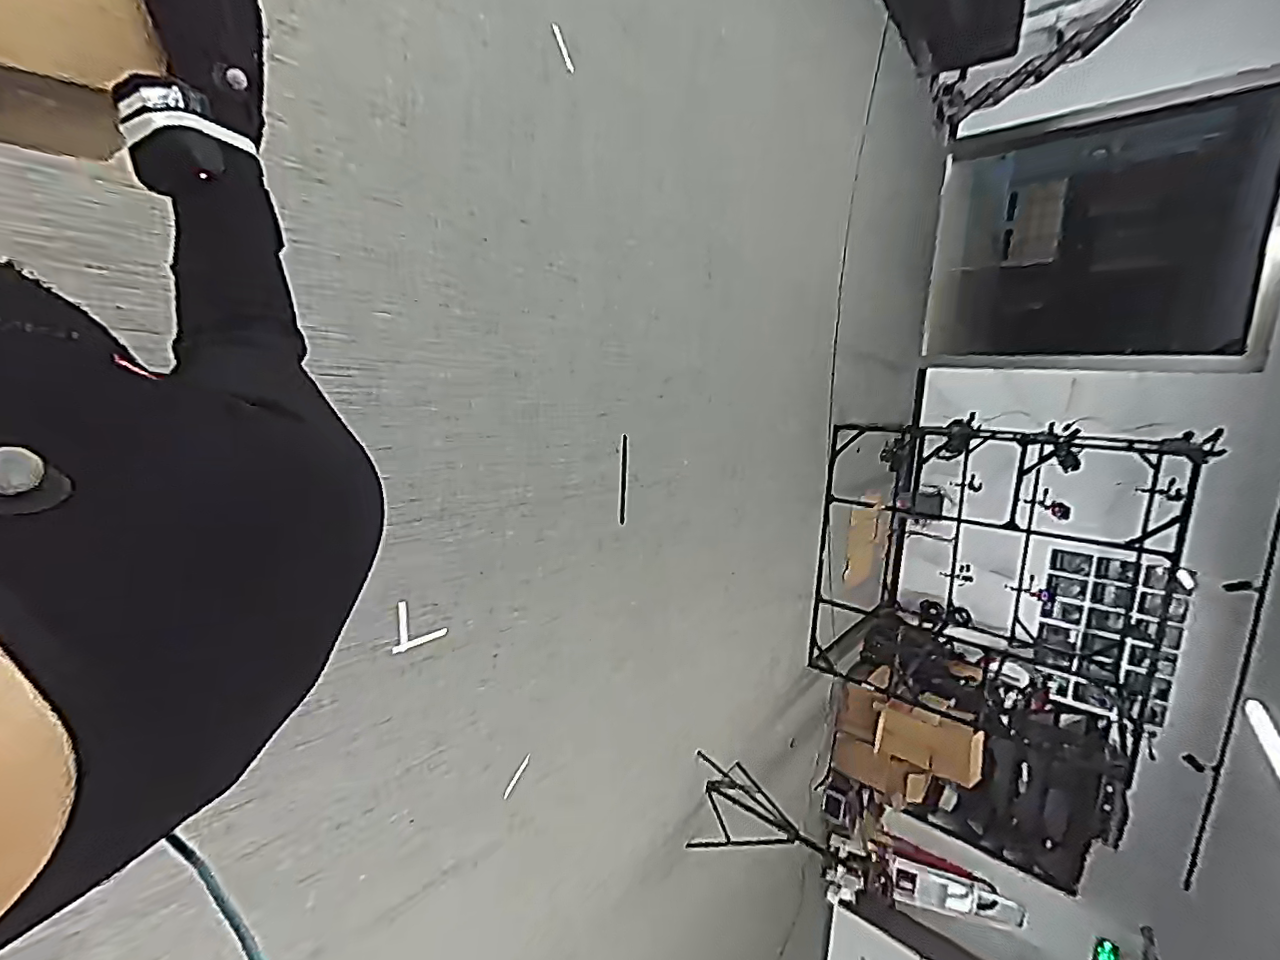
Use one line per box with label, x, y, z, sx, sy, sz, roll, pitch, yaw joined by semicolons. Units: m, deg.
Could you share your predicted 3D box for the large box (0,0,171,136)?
large box;-0.591;-0.443;0.310;0.408;0.320;0.320;-16;117;-49
